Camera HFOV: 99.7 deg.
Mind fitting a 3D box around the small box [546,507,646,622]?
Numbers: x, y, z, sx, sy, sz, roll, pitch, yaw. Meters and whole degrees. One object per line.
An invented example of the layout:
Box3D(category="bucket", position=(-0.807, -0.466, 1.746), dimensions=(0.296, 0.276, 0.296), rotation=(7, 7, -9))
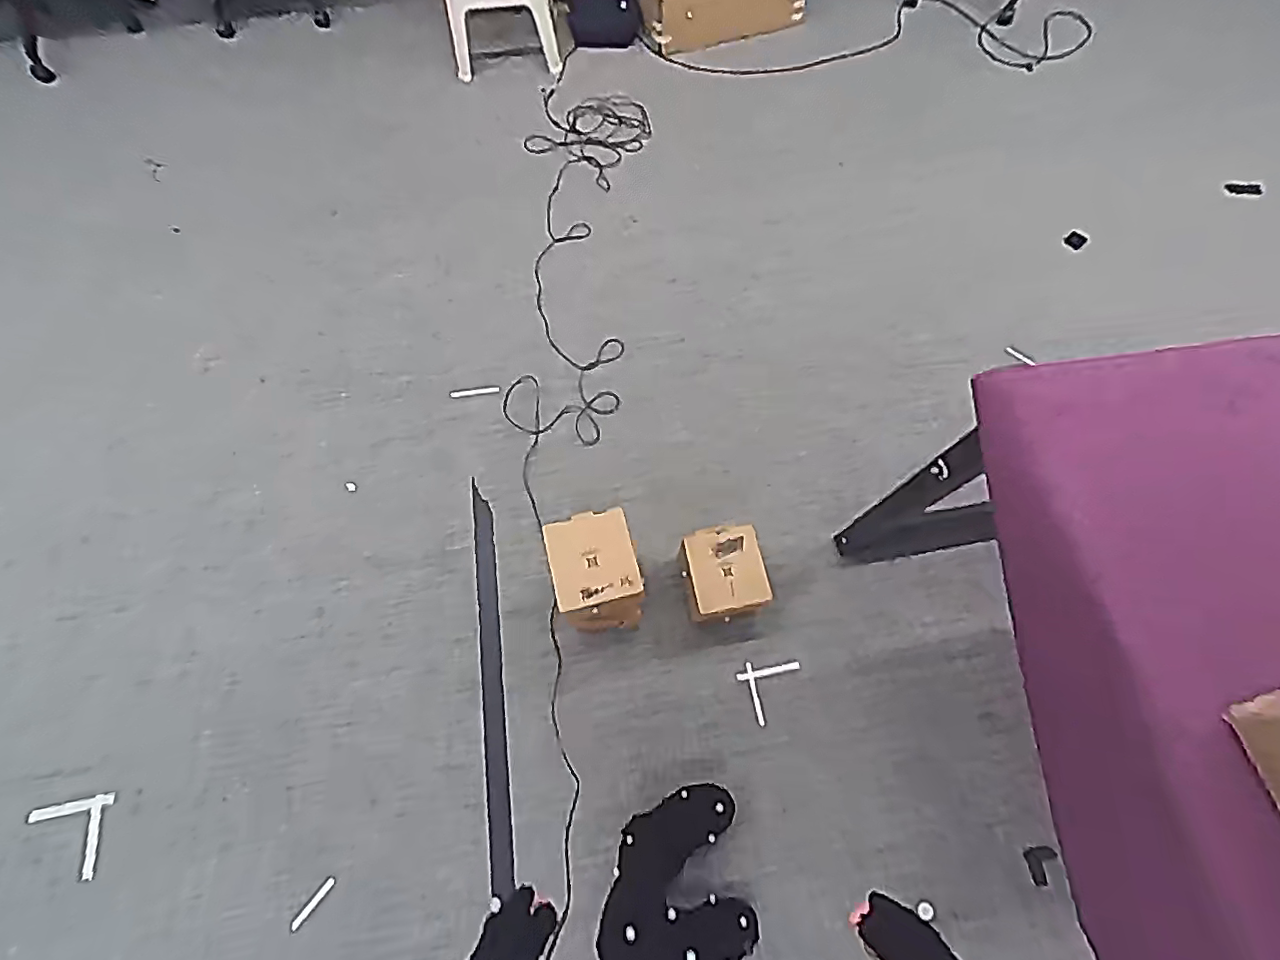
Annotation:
Box3D(category="small box", position=(-0.090, 0.177, 1.110), dimensions=(0.168, 0.176, 0.179), rotation=(-13, 69, -6))

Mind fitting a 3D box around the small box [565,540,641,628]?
Box3D(category="small box", position=(-0.084, 0.247, 1.259), dimensions=(0.168, 0.176, 0.179), rotation=(-4, 67, -3))

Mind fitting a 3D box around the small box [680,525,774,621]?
Box3D(category="small box", position=(0.194, 0.222, 1.267), dimensions=(0.168, 0.176, 0.179), rotation=(-10, 70, -4))
